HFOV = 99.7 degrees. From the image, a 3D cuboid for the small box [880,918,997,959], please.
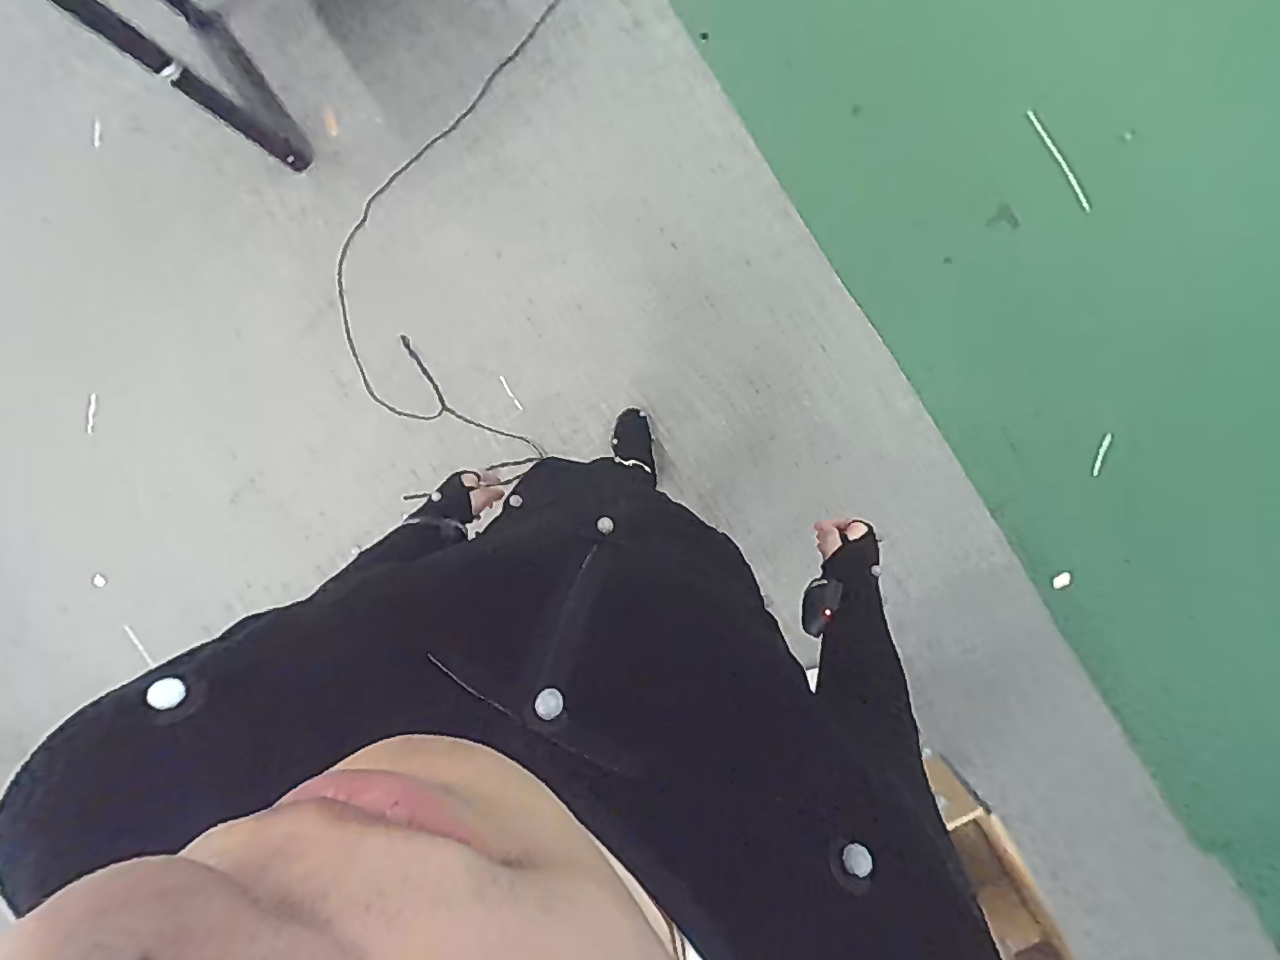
[{"bbox_3d":[0.461,0.774,0.752,0.179,0.176,0.168,-36,91,7],"label":"small box"}]
